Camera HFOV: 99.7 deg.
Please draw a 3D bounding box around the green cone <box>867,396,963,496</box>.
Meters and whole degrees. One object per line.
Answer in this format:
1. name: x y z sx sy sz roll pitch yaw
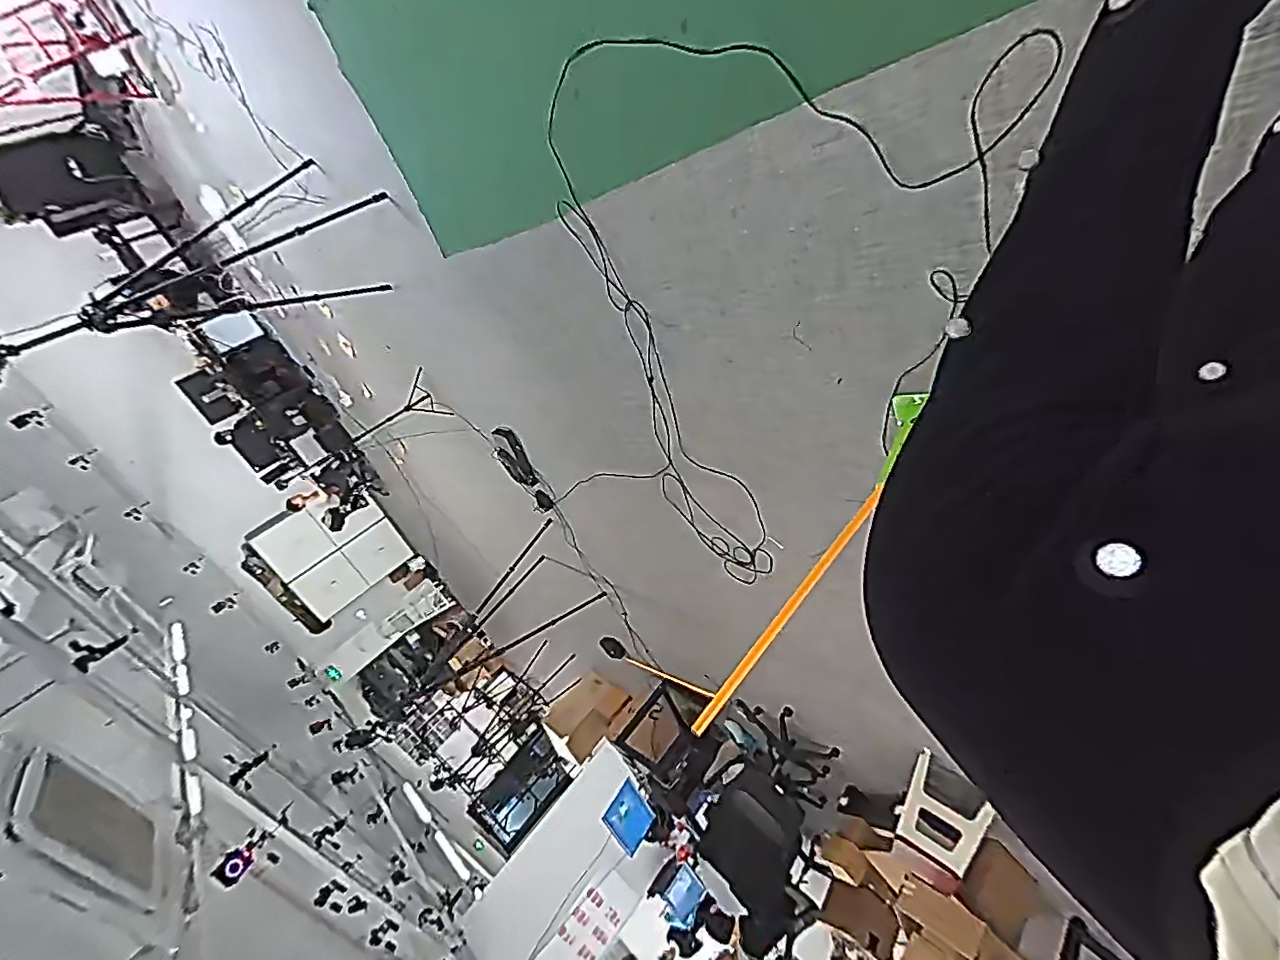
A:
1. green cone: 0.784 -0.077 1.617 0.202 0.368 0.200 7 131 51
